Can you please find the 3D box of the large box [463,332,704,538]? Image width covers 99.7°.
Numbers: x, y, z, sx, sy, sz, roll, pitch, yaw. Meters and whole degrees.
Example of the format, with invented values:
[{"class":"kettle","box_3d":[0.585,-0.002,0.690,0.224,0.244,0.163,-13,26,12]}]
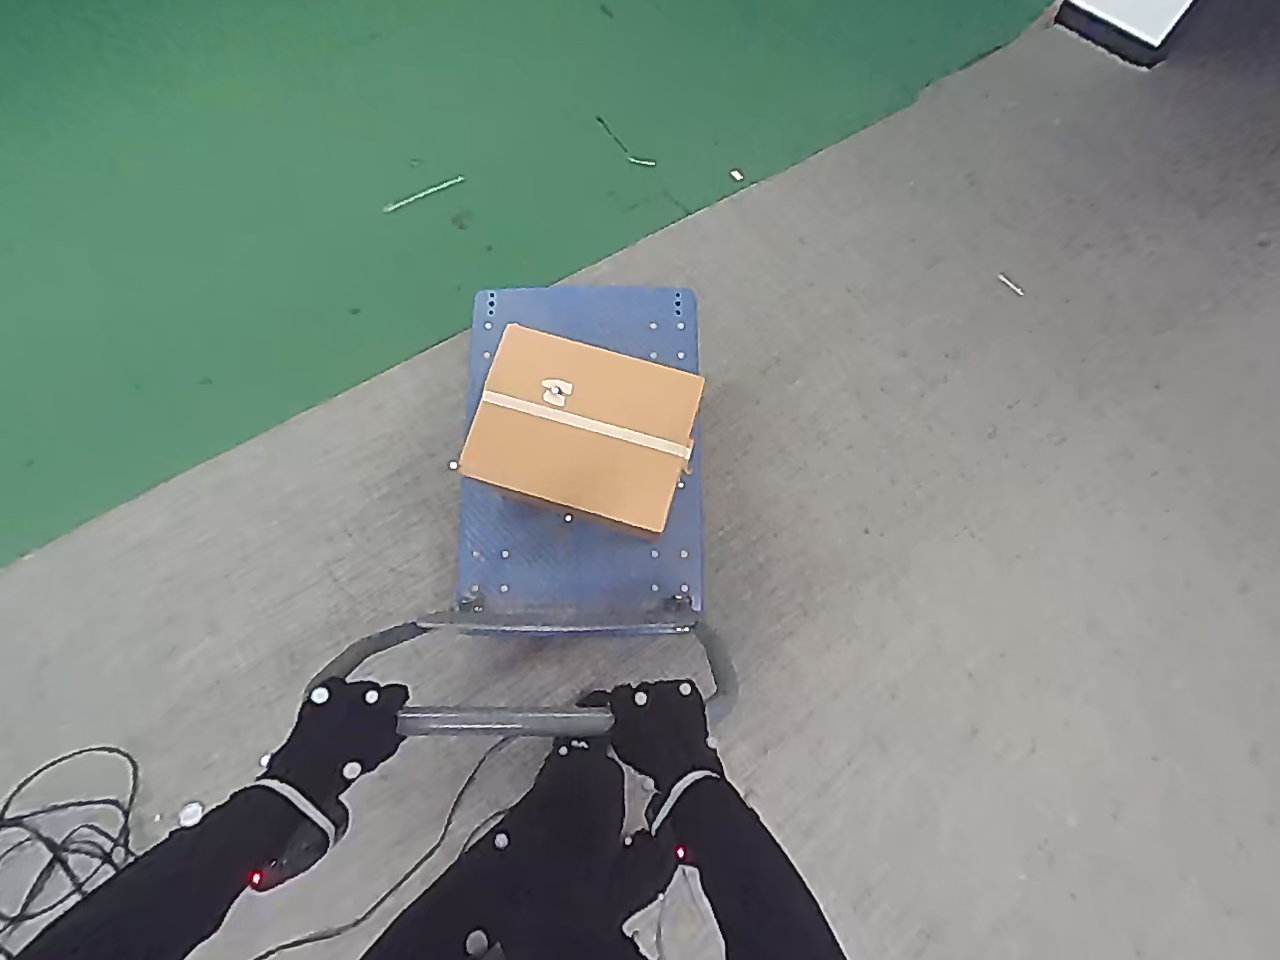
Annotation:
[{"class":"large box","box_3d":[-0.098,-0.074,1.167,0.408,0.320,0.320,15,81,4]}]
